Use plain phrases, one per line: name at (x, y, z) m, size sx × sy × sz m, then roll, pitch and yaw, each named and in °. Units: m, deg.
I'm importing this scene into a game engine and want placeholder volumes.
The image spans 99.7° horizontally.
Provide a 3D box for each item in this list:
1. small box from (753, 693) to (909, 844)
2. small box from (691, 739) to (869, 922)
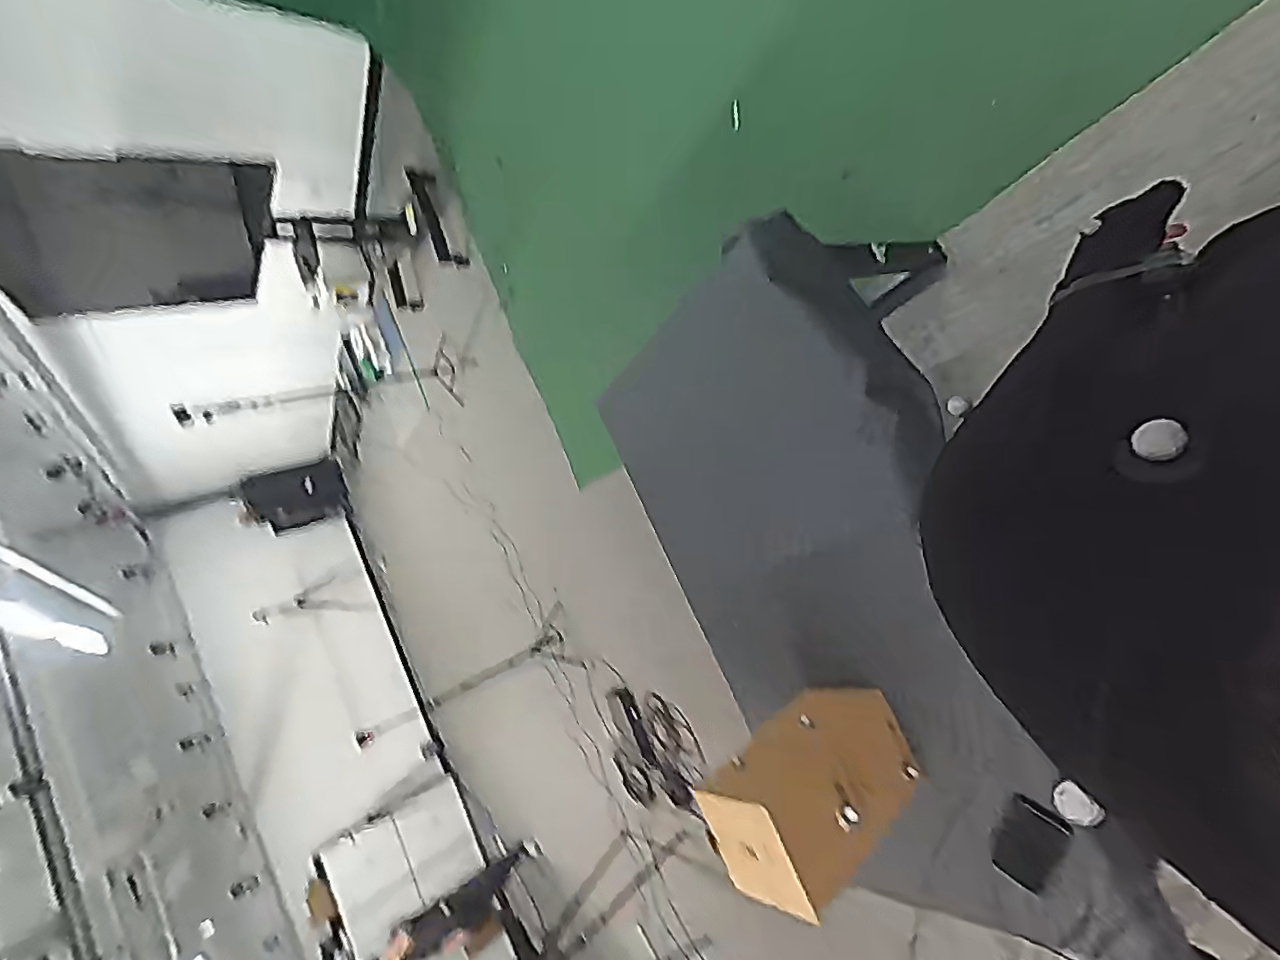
small box at (0.340, 0.490, 0.949) m, size 0.179 × 0.176 × 0.168 m, roll -34°, pitch 78°, yaw 54°
small box at (0.218, 0.529, 0.849) m, size 0.179 × 0.176 × 0.168 m, roll -35°, pitch 78°, yaw 52°
